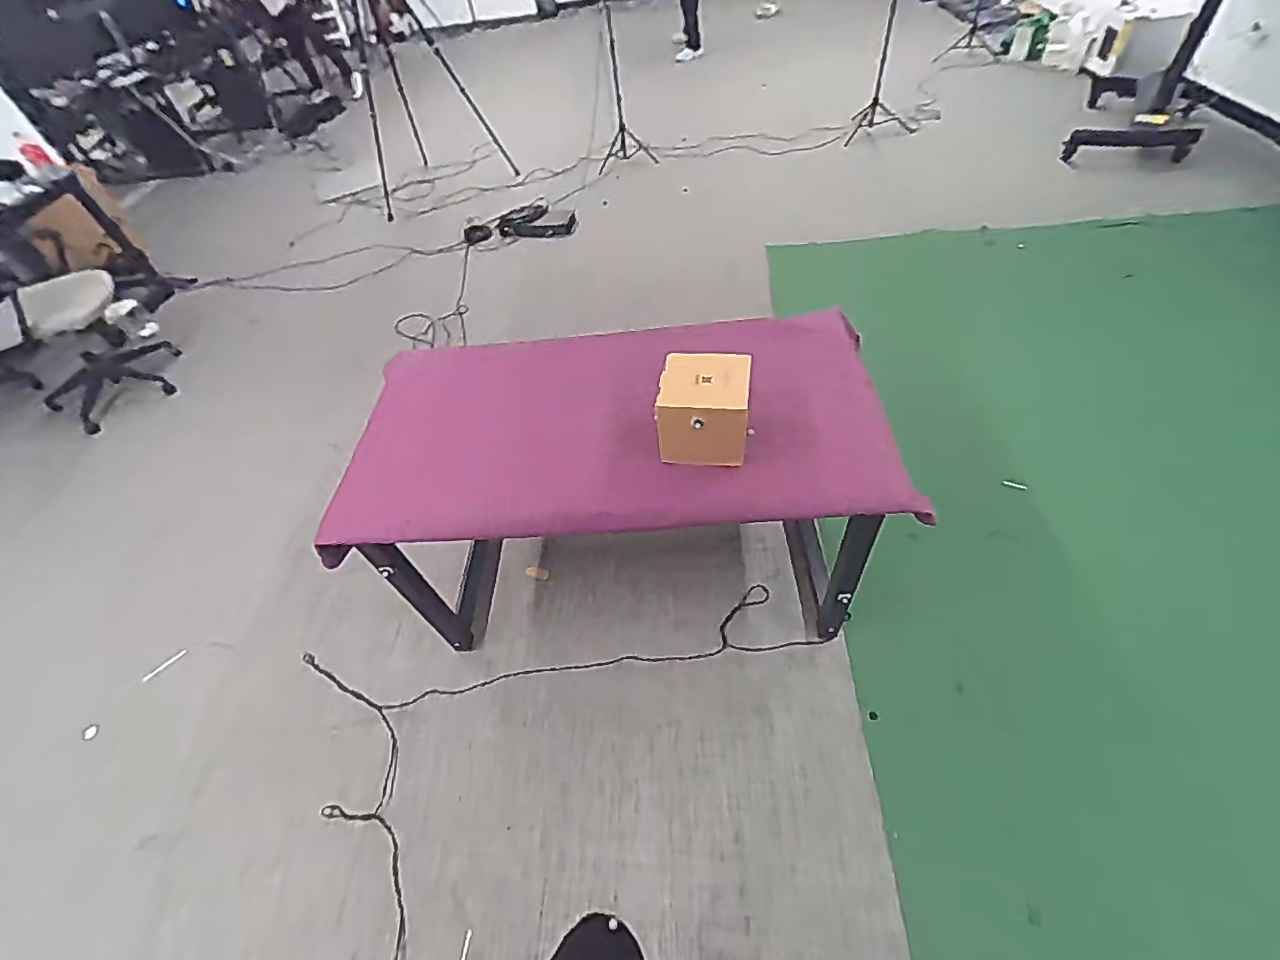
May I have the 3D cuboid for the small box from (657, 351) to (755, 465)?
[{"bbox_3d":[0.141,-0.148,1.122,0.179,0.176,0.168,5,52,12],"label":"small box"}]
